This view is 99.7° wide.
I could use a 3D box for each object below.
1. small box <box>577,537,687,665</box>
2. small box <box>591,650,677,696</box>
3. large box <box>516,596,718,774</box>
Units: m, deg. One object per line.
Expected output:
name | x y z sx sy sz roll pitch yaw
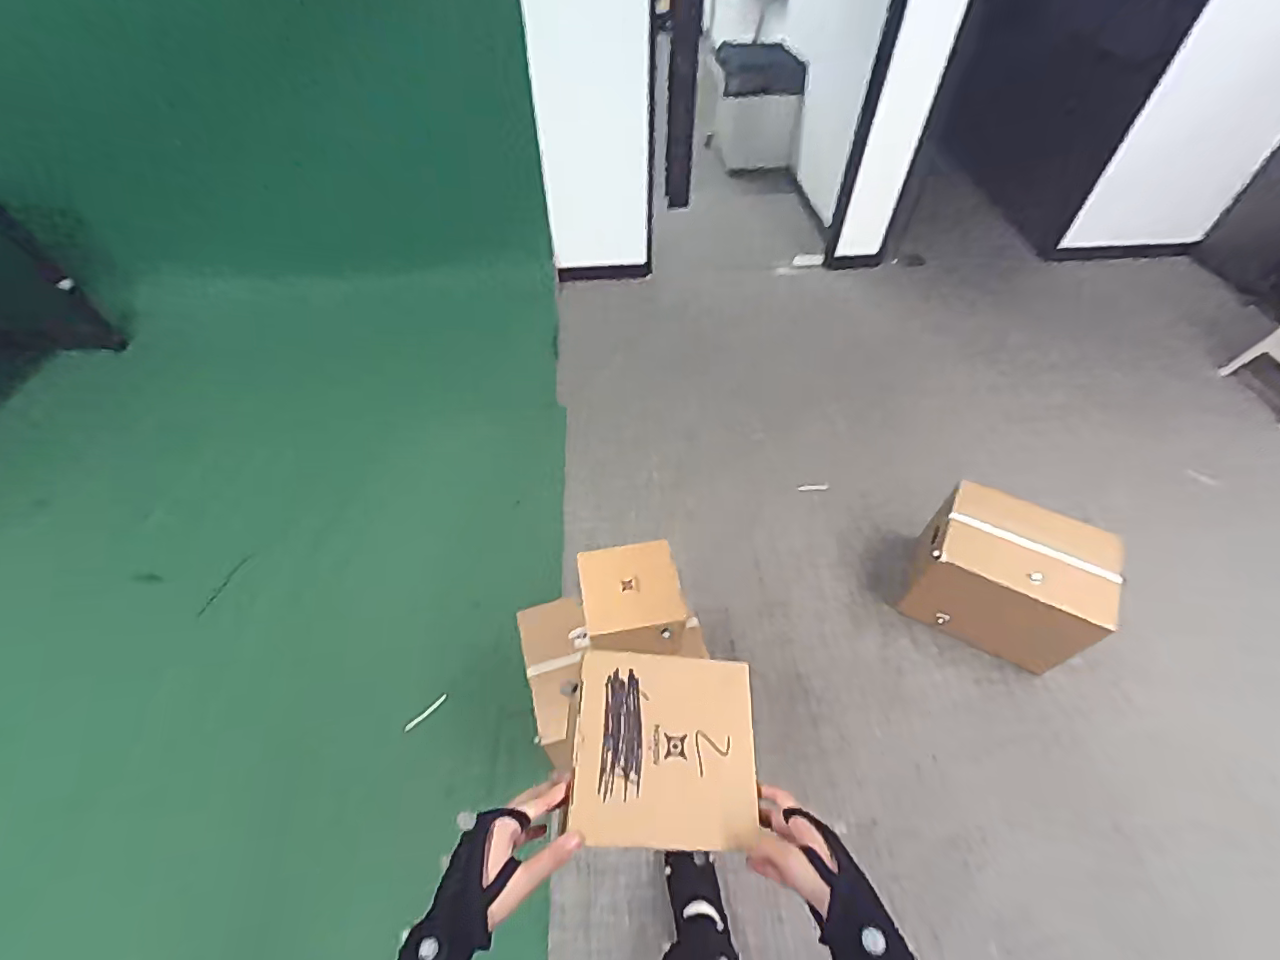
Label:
small box | -0.018 0.232 1.018 0.179 0.176 0.168 -8 52 -8
small box | -0.023 0.340 1.139 0.168 0.176 0.179 -9 52 -9
large box | -0.059 0.479 1.344 0.408 0.320 0.320 -14 51 -10
